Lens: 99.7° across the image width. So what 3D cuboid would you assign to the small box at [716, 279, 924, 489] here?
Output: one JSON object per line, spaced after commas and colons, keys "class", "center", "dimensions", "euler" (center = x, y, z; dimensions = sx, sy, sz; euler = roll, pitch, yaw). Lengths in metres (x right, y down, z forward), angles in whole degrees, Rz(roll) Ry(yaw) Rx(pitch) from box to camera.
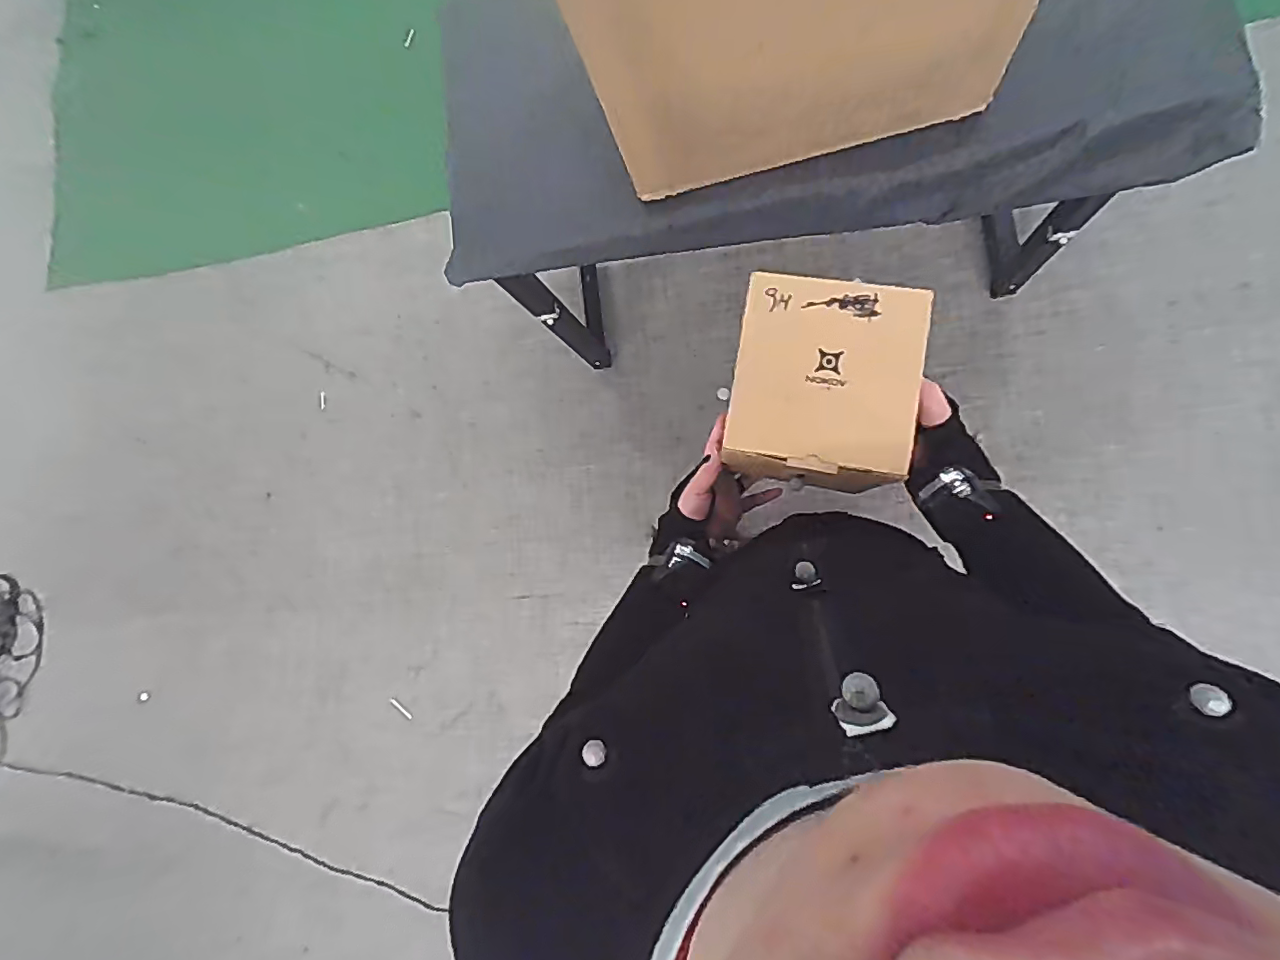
{"class": "small box", "center": [0.178, -0.089, 0.578], "dimensions": [0.168, 0.176, 0.179], "euler": [9, 86, 9]}
